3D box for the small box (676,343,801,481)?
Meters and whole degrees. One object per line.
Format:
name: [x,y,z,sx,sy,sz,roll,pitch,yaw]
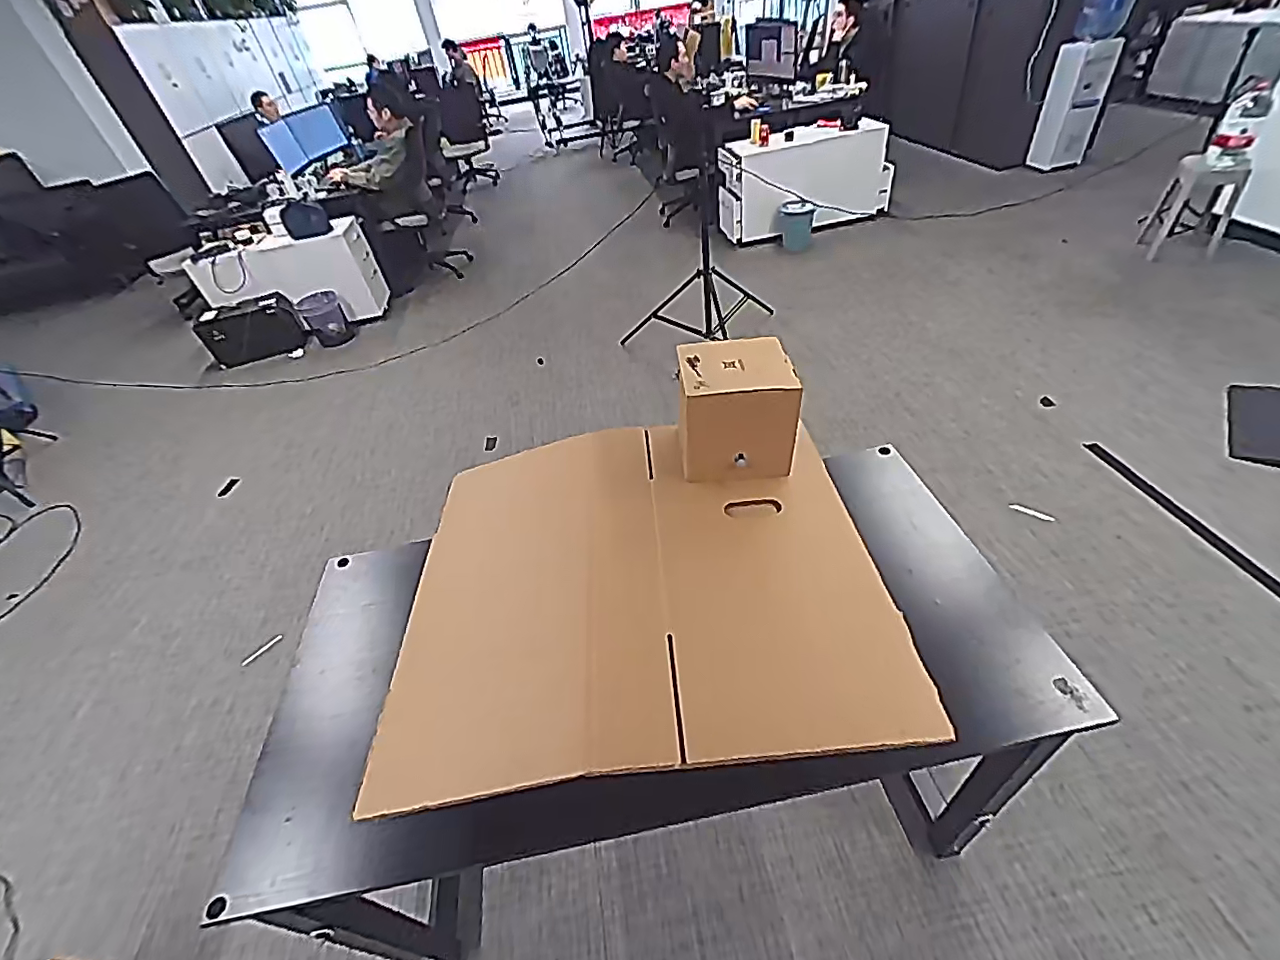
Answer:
small box: [0.153,-0.114,0.912,0.179,0.176,0.168,-4,40,0]
